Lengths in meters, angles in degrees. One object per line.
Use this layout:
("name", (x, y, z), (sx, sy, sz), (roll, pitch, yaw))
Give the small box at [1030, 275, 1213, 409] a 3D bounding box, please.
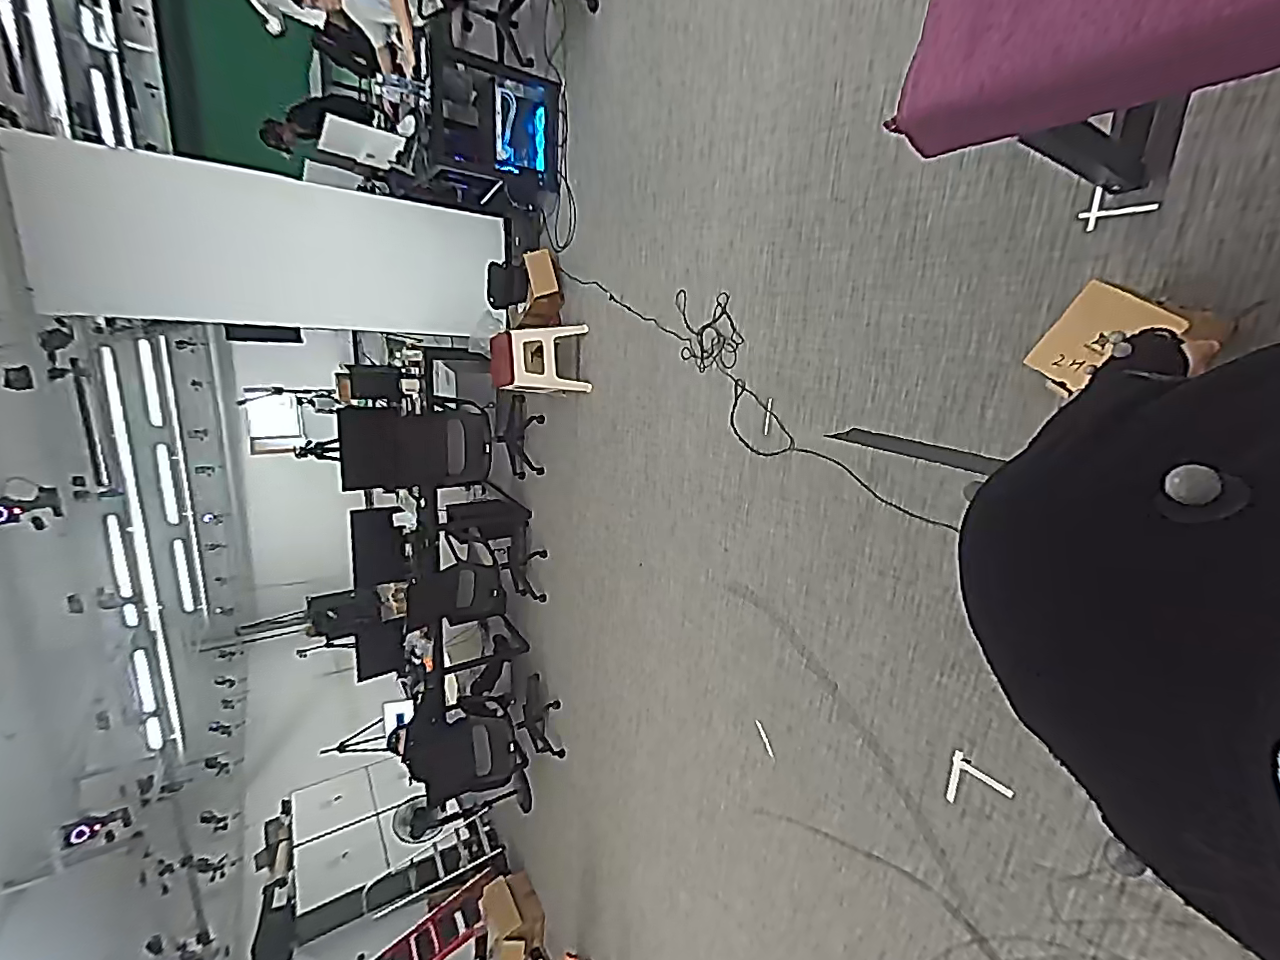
("small box", (0.881, -0.250, 0.990), (0.168, 0.176, 0.179), (55, 139, 35))
